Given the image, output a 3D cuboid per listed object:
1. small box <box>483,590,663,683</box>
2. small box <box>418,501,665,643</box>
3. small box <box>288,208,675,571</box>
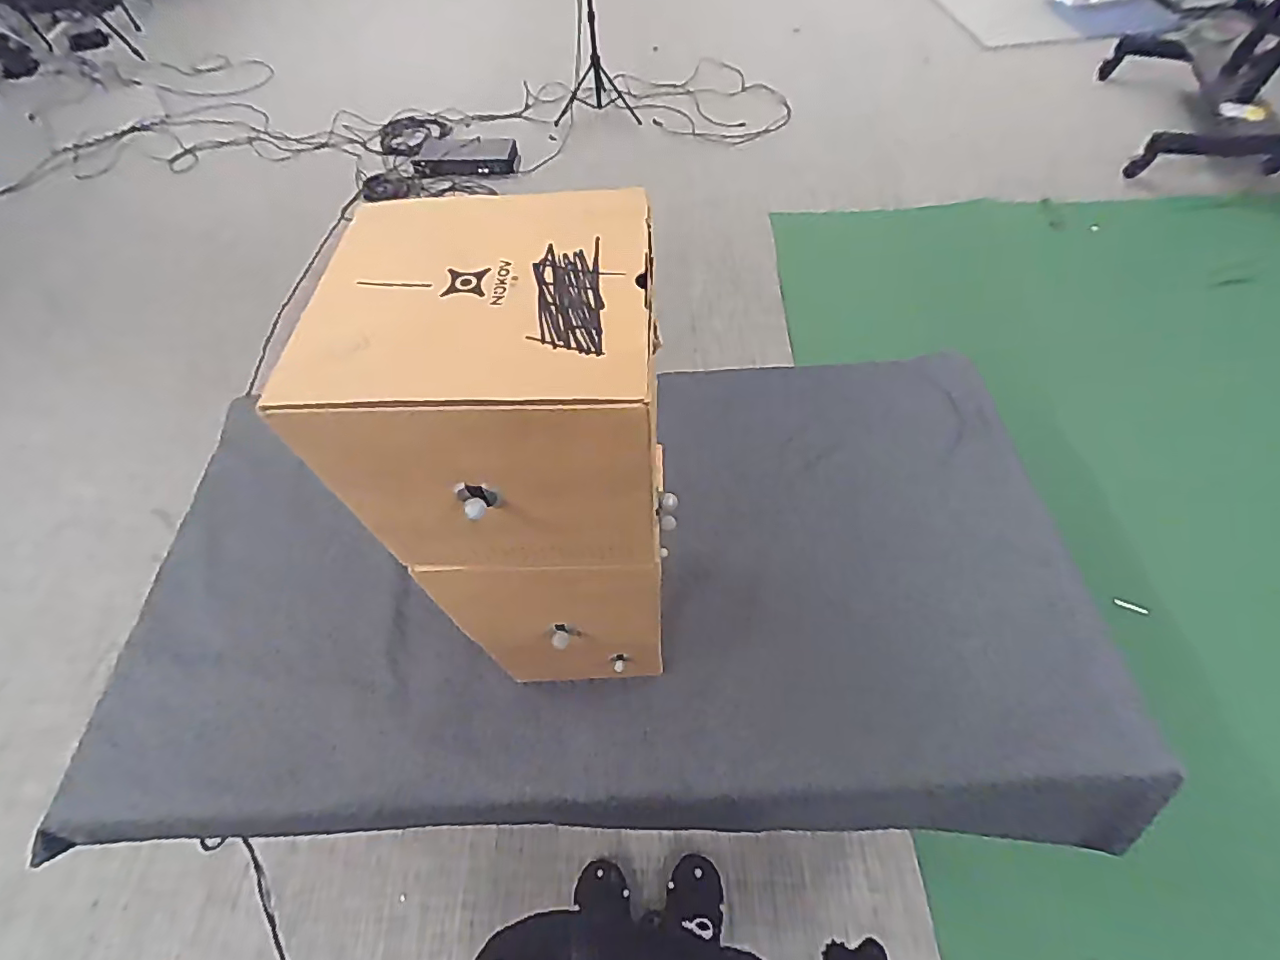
[{"bbox_3d":[-0.065,0.128,0.628,0.179,0.176,0.168,-5,56,1],"label":"small box"},{"bbox_3d":[-0.070,0.042,0.489,0.179,0.176,0.168,-2,56,1],"label":"small box"},{"bbox_3d":[-0.075,-0.050,0.352,0.179,0.176,0.168,-3,57,-1],"label":"small box"}]
